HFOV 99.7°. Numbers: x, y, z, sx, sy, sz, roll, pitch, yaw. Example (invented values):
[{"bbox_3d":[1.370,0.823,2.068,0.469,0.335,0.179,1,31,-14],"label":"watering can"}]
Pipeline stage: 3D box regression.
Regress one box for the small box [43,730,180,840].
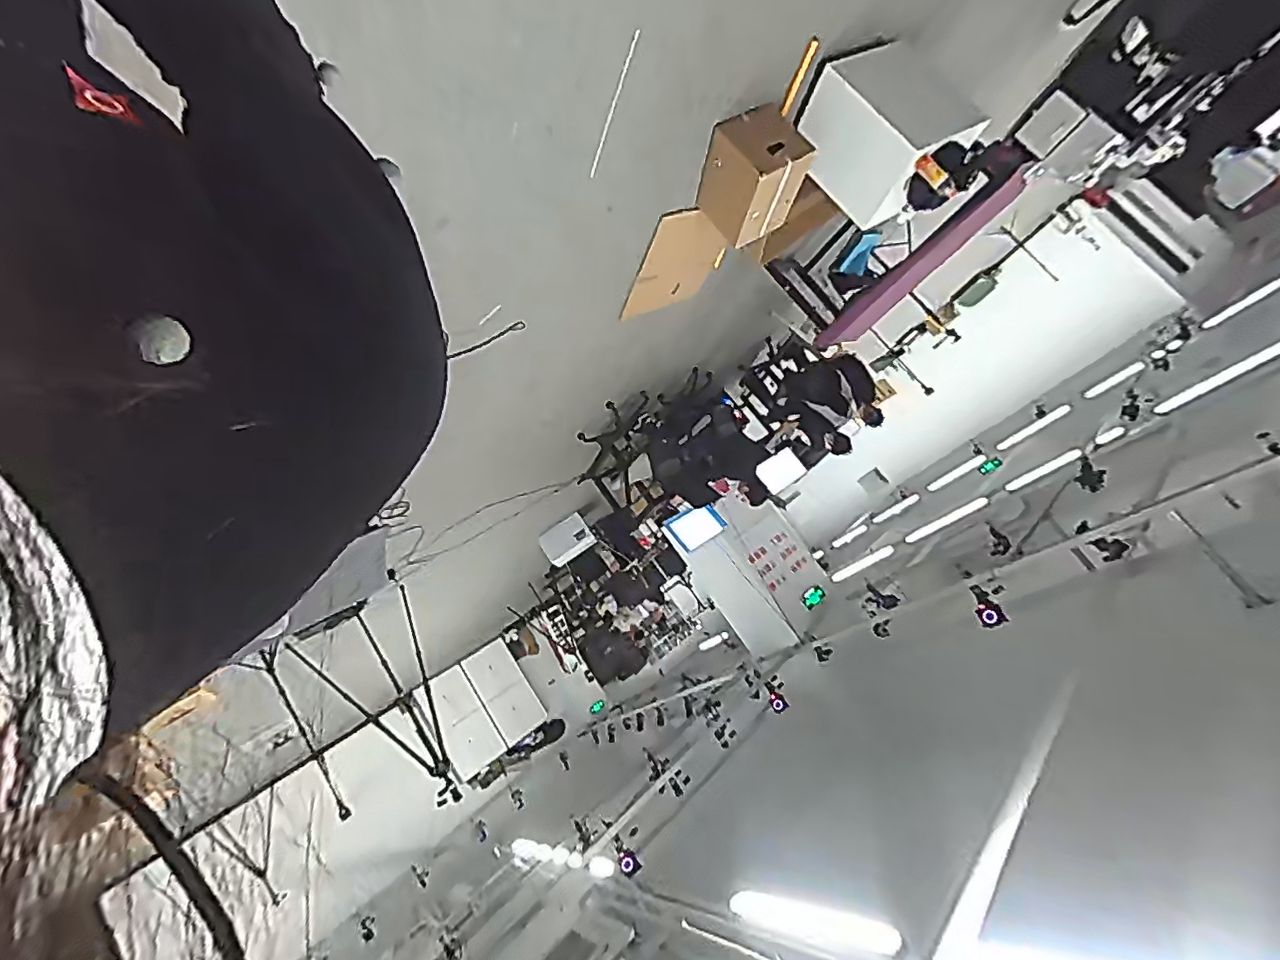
[{"bbox_3d":[-1.317,0.755,1.355,0.179,0.176,0.168,-29,167,-32],"label":"small box"}]
